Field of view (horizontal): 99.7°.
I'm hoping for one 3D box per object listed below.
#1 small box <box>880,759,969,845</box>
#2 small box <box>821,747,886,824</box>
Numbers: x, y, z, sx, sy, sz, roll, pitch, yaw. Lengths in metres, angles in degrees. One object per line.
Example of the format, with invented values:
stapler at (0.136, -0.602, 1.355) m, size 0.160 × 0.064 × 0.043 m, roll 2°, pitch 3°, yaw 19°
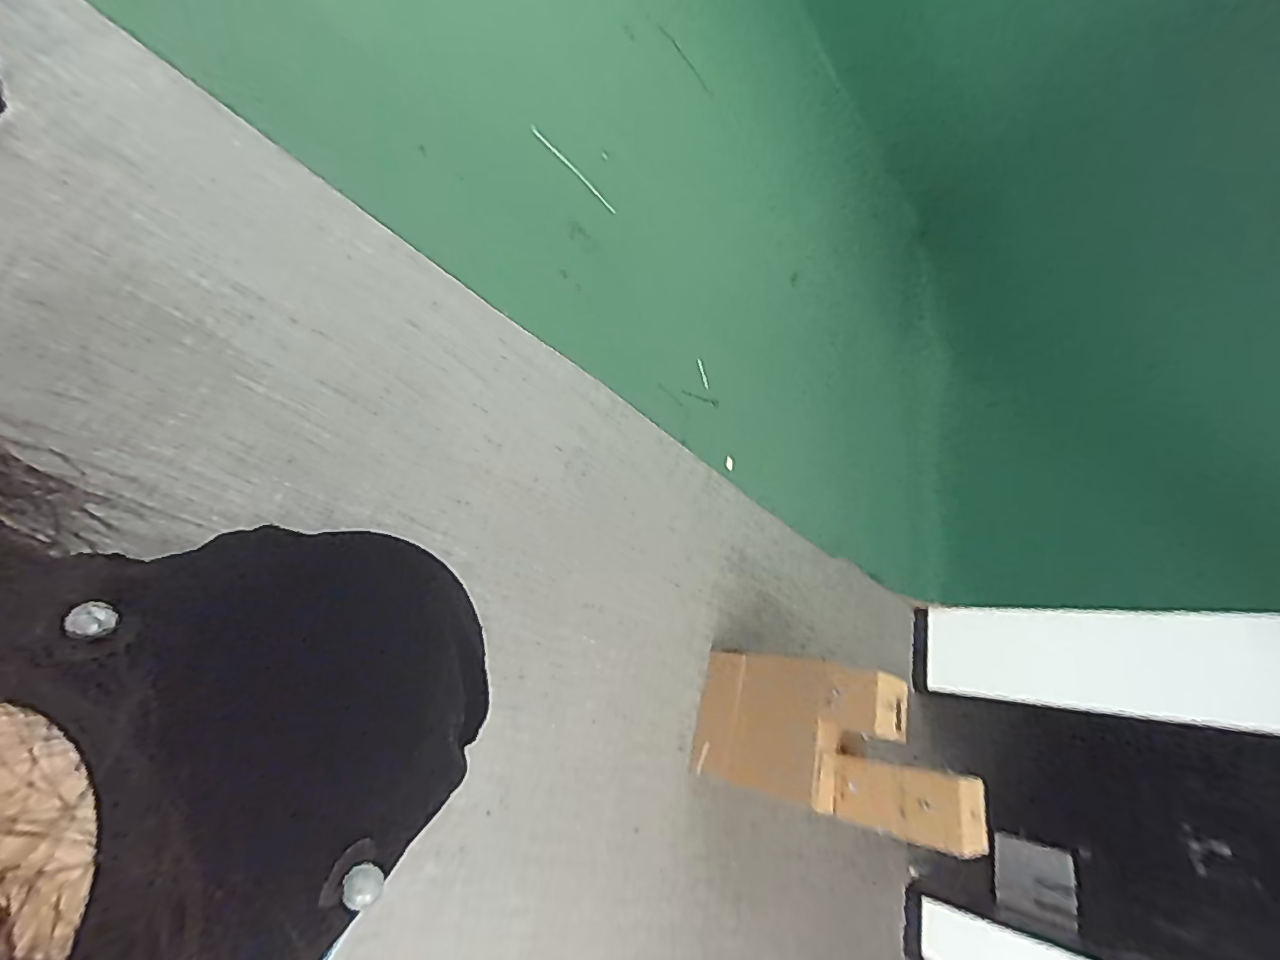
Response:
small box at (0.766, 0.866, 1.465) m, size 0.179 × 0.176 × 0.168 m, roll 26°, pitch 64°, yaw -38°
small box at (0.652, 0.891, 1.581) m, size 0.179 × 0.176 × 0.168 m, roll 28°, pitch 63°, yaw -36°
